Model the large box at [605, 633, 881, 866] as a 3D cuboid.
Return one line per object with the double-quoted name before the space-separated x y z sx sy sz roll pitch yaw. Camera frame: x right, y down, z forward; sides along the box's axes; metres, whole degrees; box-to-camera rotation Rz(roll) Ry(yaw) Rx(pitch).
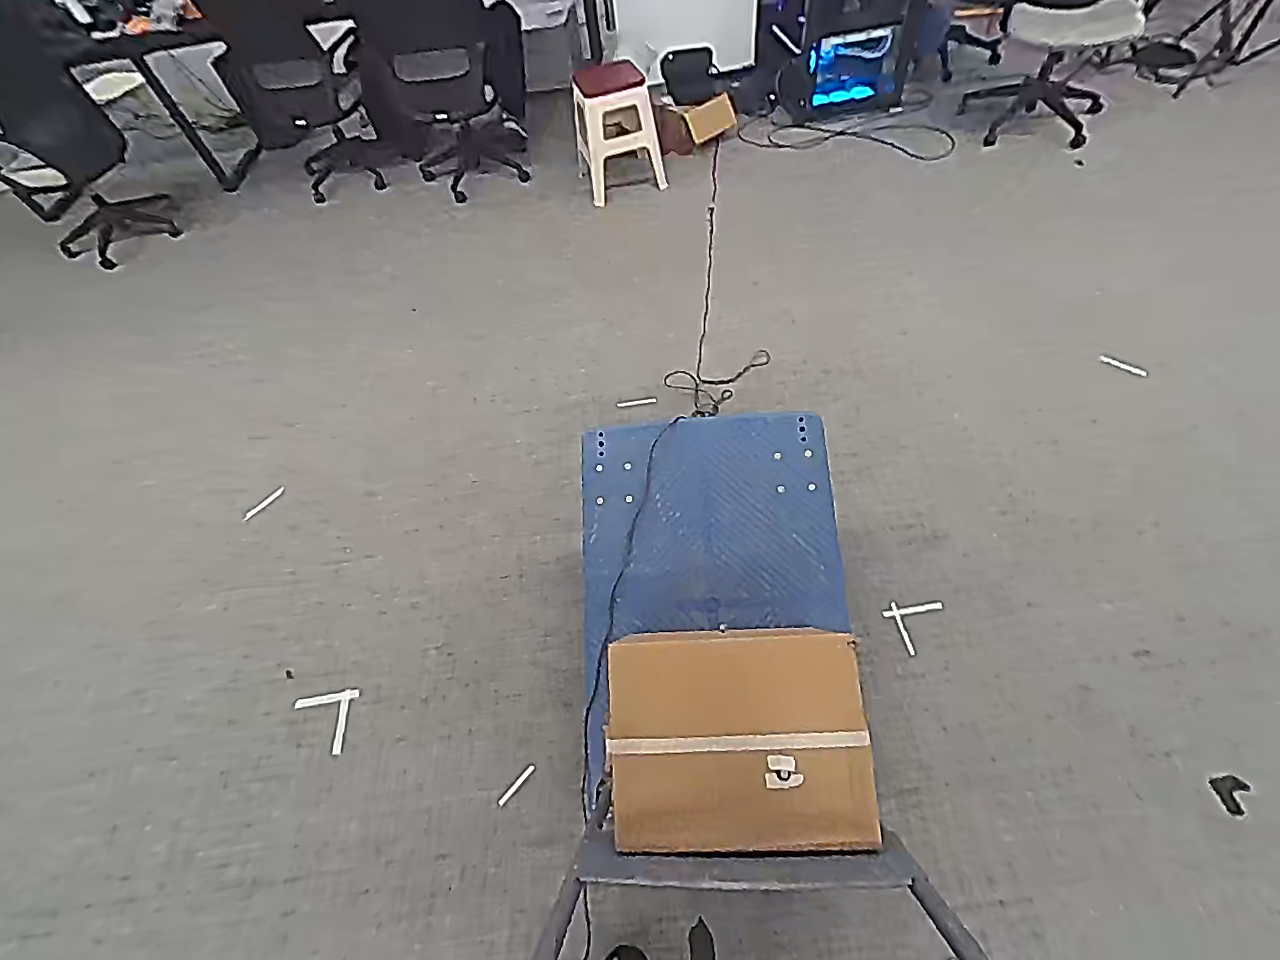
"large box" 0.161 0.456 0.988 0.408 0.320 0.320 -5 77 4
